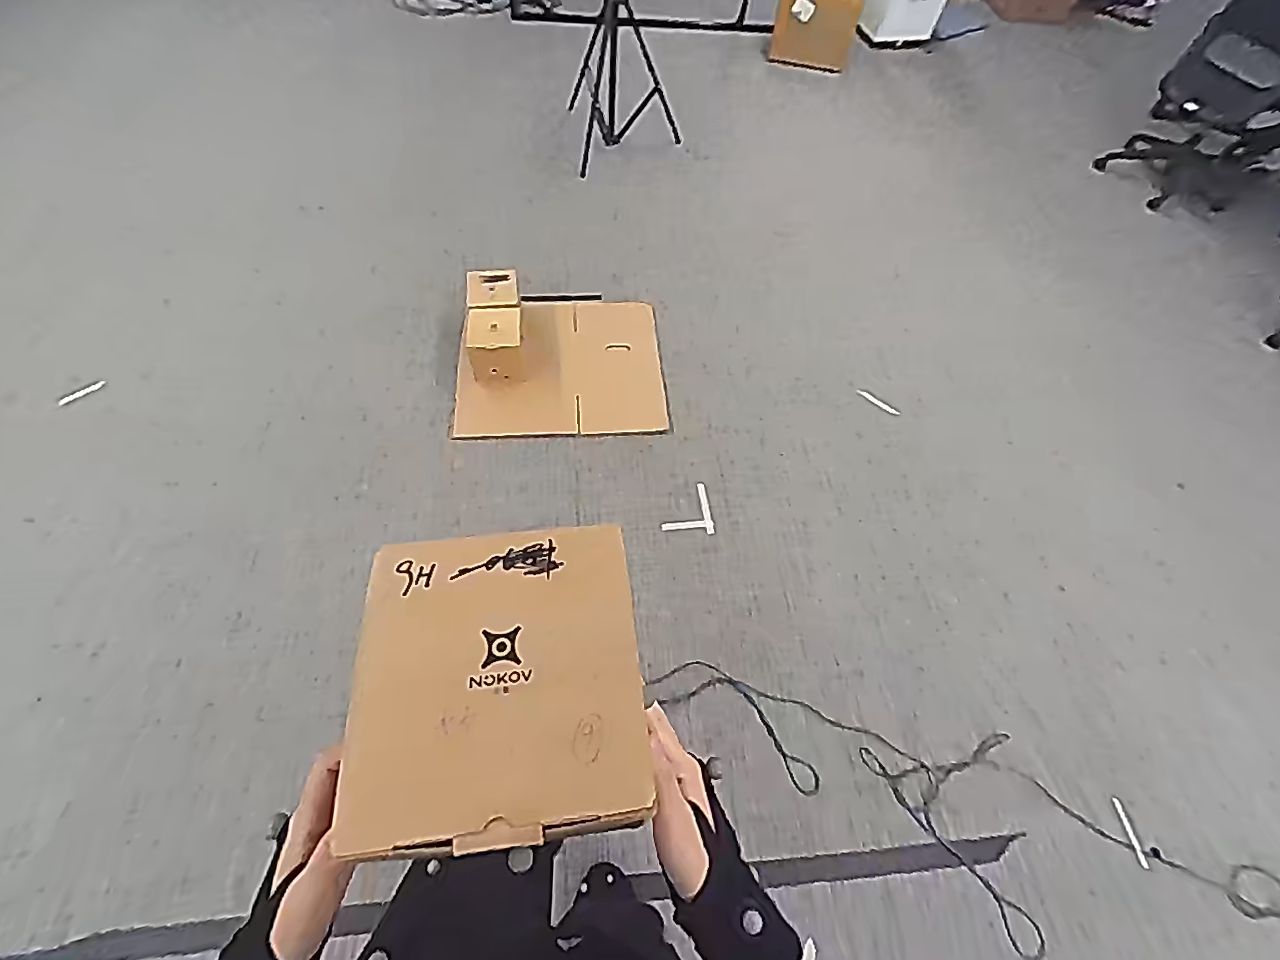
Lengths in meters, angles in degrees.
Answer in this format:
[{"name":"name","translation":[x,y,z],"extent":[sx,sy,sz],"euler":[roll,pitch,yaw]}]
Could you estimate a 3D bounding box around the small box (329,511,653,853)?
[{"name":"small box","translation":[-0.086,0.143,0.381],"extent":[0.168,0.176,0.179],"euler":[-5,57,-8]}]
